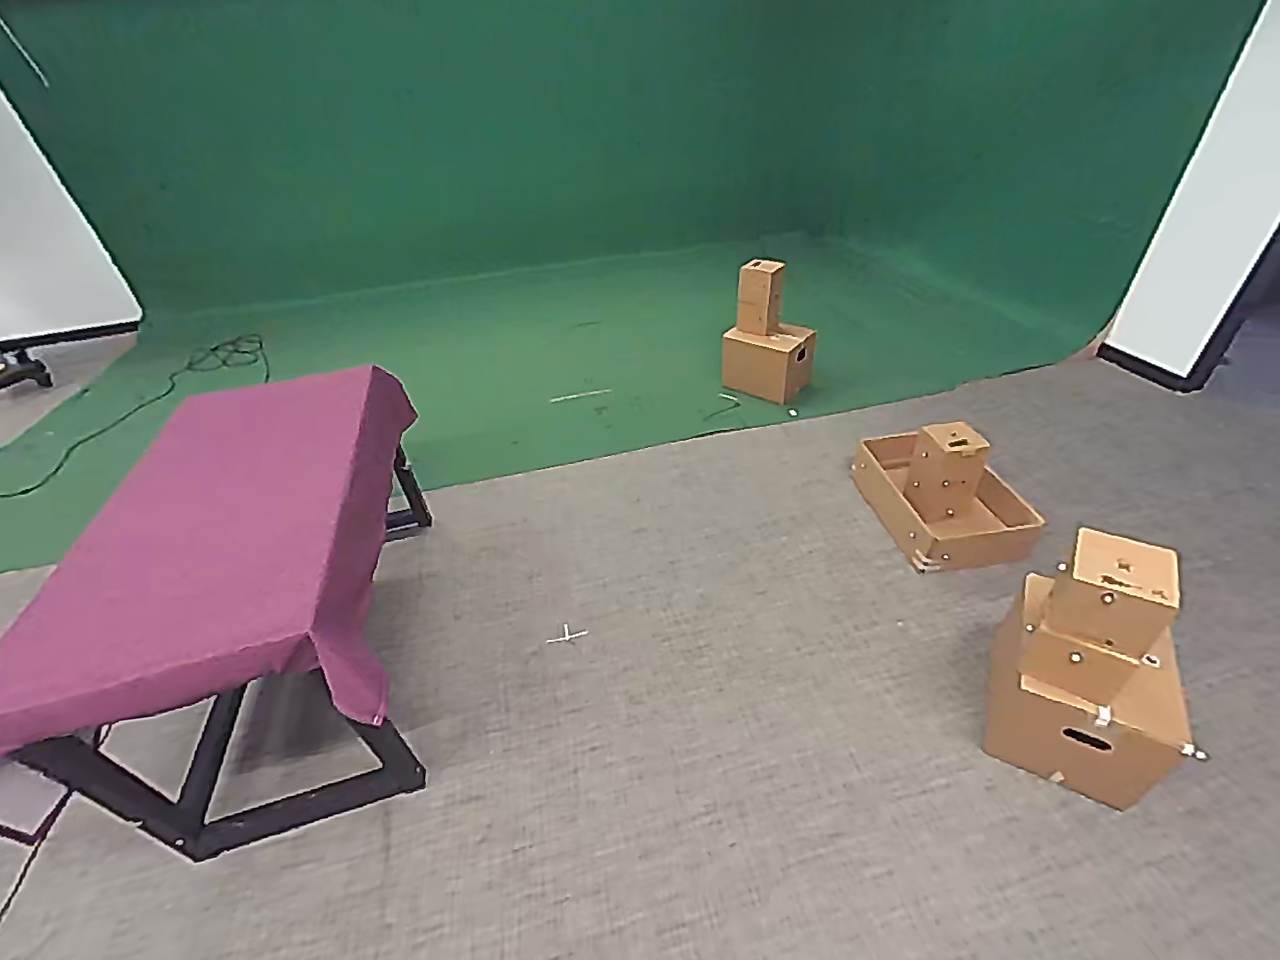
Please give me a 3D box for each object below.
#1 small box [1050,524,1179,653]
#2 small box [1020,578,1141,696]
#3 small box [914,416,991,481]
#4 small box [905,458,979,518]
[{"bbox_3d":[1.006,0.229,1.156,0.168,0.176,0.179,18,44,32],"label":"small box"},{"bbox_3d":[1.017,0.365,1.247,0.179,0.176,0.168,21,46,35],"label":"small box"},{"bbox_3d":[1.136,-0.109,1.980,0.168,0.176,0.179,-7,37,-2],"label":"small box"},{"bbox_3d":[1.152,0.021,2.080,0.168,0.176,0.179,-9,38,-2],"label":"small box"}]
